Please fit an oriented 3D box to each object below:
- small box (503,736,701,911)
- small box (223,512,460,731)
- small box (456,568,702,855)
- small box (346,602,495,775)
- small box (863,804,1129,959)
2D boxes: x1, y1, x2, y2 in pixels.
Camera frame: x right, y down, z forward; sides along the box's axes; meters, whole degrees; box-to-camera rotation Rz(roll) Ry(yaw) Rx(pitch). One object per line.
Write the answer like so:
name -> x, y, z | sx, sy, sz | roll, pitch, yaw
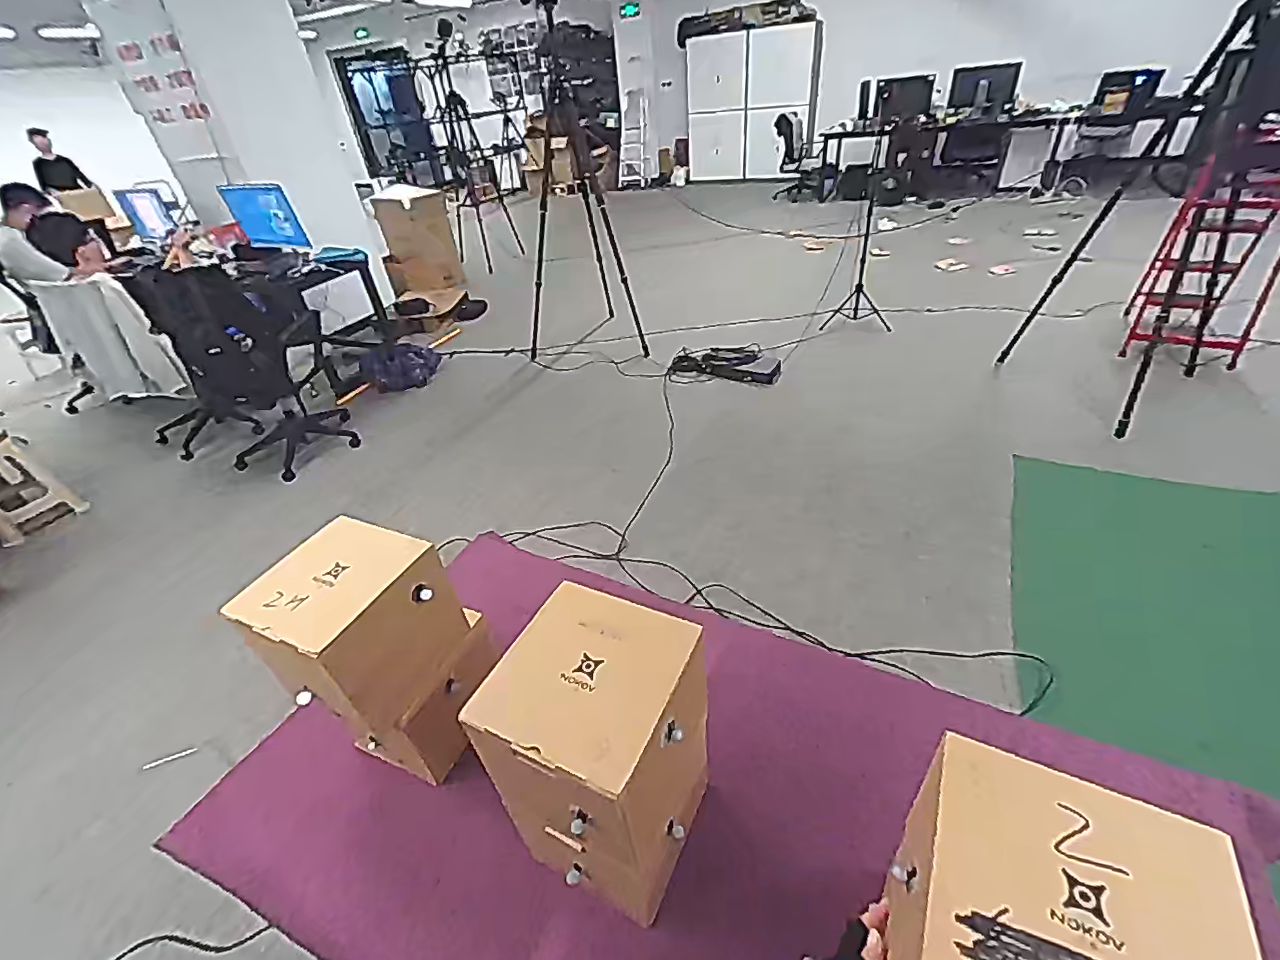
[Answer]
small box -> -0.029, 0.365, 0.648 | 0.168, 0.176, 0.179 | 10, 40, 23
small box -> -0.350, 0.171, 0.677 | 0.168, 0.176, 0.179 | 11, 42, 22
small box -> -0.041, 0.223, 0.535 | 0.168, 0.176, 0.179 | 13, 41, 24
small box -> -0.324, 0.288, 0.792 | 0.168, 0.176, 0.179 | 11, 41, 21
small box -> 0.301, 0.447, 0.483 | 0.168, 0.176, 0.179 | 17, 42, 28
